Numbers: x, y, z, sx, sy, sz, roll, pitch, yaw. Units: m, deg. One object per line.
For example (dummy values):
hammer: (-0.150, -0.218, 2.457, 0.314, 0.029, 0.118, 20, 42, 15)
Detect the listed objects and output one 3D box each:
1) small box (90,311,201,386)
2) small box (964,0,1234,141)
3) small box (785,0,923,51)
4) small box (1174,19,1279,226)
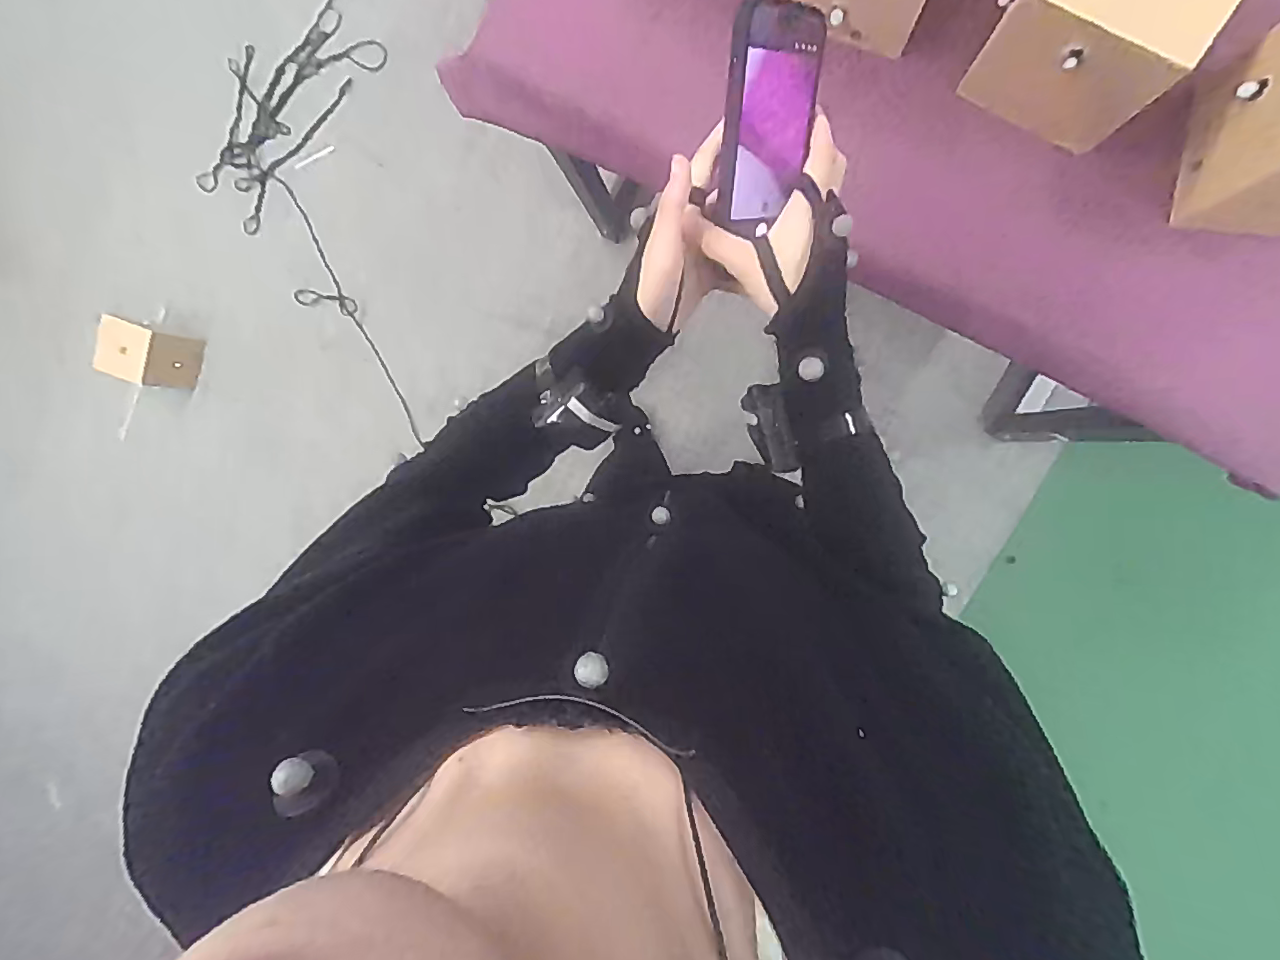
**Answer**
small box: (-1.486, -0.391, 1.635, 0.179, 0.176, 0.168, 20, 98, 7)
small box: (0.494, -0.508, 0.575, 0.179, 0.176, 0.168, 33, 99, 5)
small box: (0.273, -0.643, 0.600, 0.168, 0.176, 0.179, 25, 99, 7)
small box: (0.714, -0.375, 0.549, 0.179, 0.176, 0.168, 8, 95, 8)
